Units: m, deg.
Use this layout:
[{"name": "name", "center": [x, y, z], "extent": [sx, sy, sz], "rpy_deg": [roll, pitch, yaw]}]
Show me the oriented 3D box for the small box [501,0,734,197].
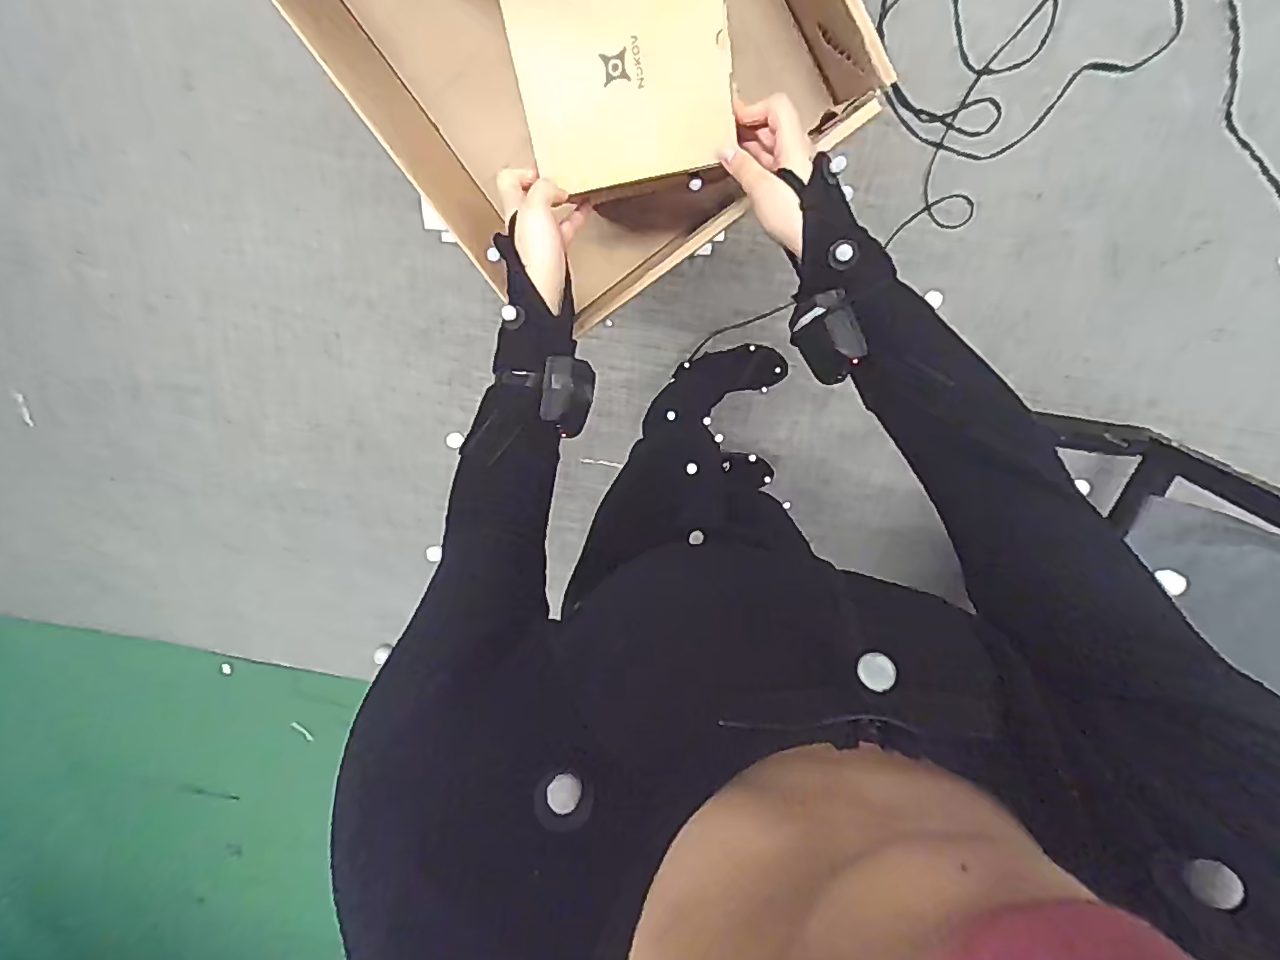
[{"name": "small box", "center": [-0.008, -0.376, 0.512], "extent": [0.179, 0.176, 0.168], "rpy_deg": [-7, 115, 9]}]
